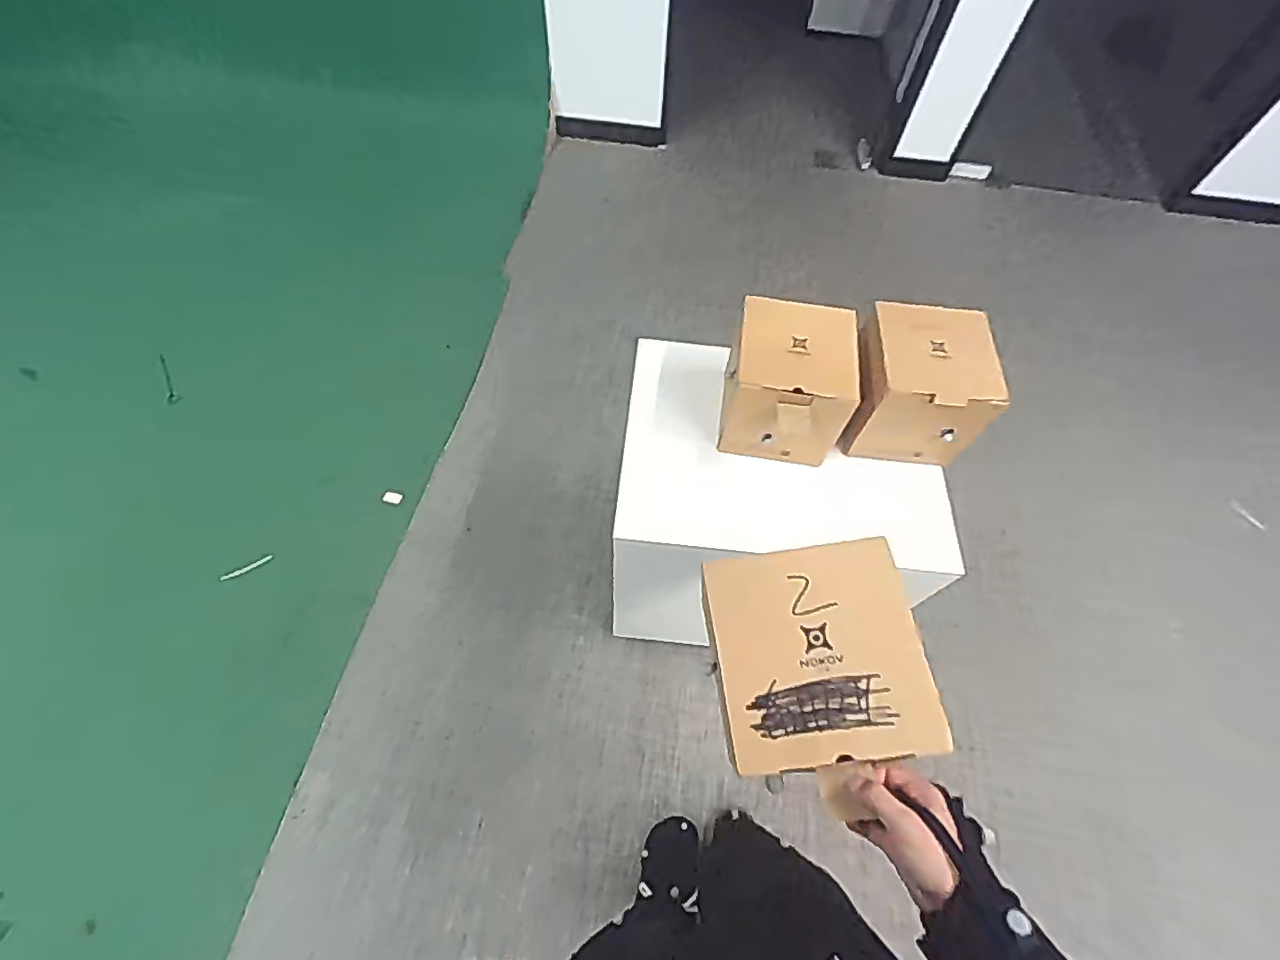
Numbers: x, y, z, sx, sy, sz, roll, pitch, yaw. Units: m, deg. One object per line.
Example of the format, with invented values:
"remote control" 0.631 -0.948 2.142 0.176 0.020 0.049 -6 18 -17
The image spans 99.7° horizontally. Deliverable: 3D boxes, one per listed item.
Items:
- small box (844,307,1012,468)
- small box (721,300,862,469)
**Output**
"small box" 0.420 -0.136 0.831 0.168 0.176 0.179 6 59 0
"small box" 0.223 -0.141 0.827 0.168 0.176 0.179 9 61 3
